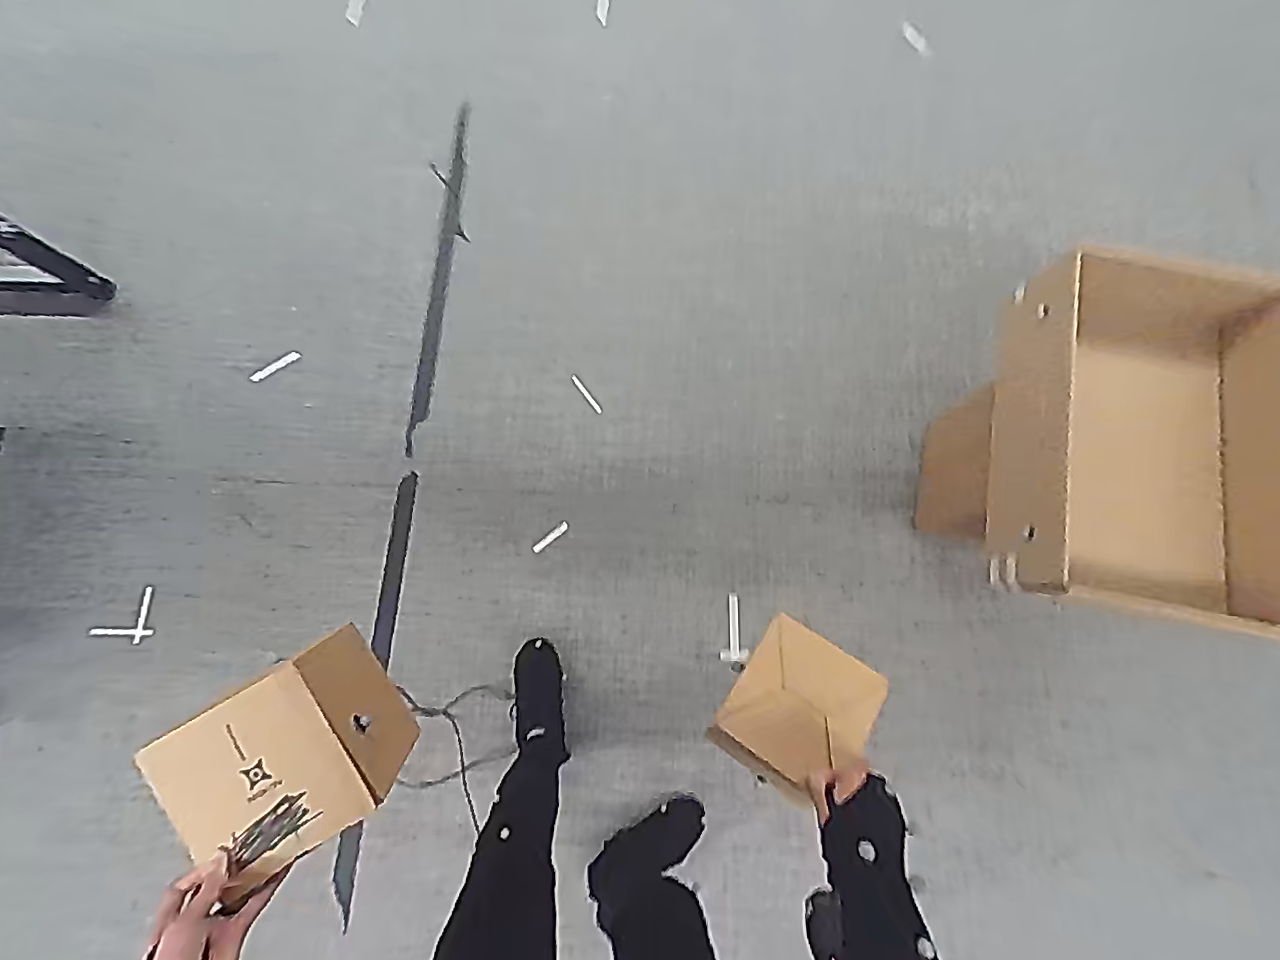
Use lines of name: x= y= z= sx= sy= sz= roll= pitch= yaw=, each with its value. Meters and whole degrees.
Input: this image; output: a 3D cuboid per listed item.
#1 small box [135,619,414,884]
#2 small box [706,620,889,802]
small box: x=-0.387 y=0.287 z=0.615 sx=0.168 sy=0.176 sz=0.179 roll=-30 pitch=93 yaw=-8
small box: x=0.211 y=0.314 z=0.744 sx=0.168 sy=0.176 sz=0.179 roll=31 pitch=65 yaw=18
